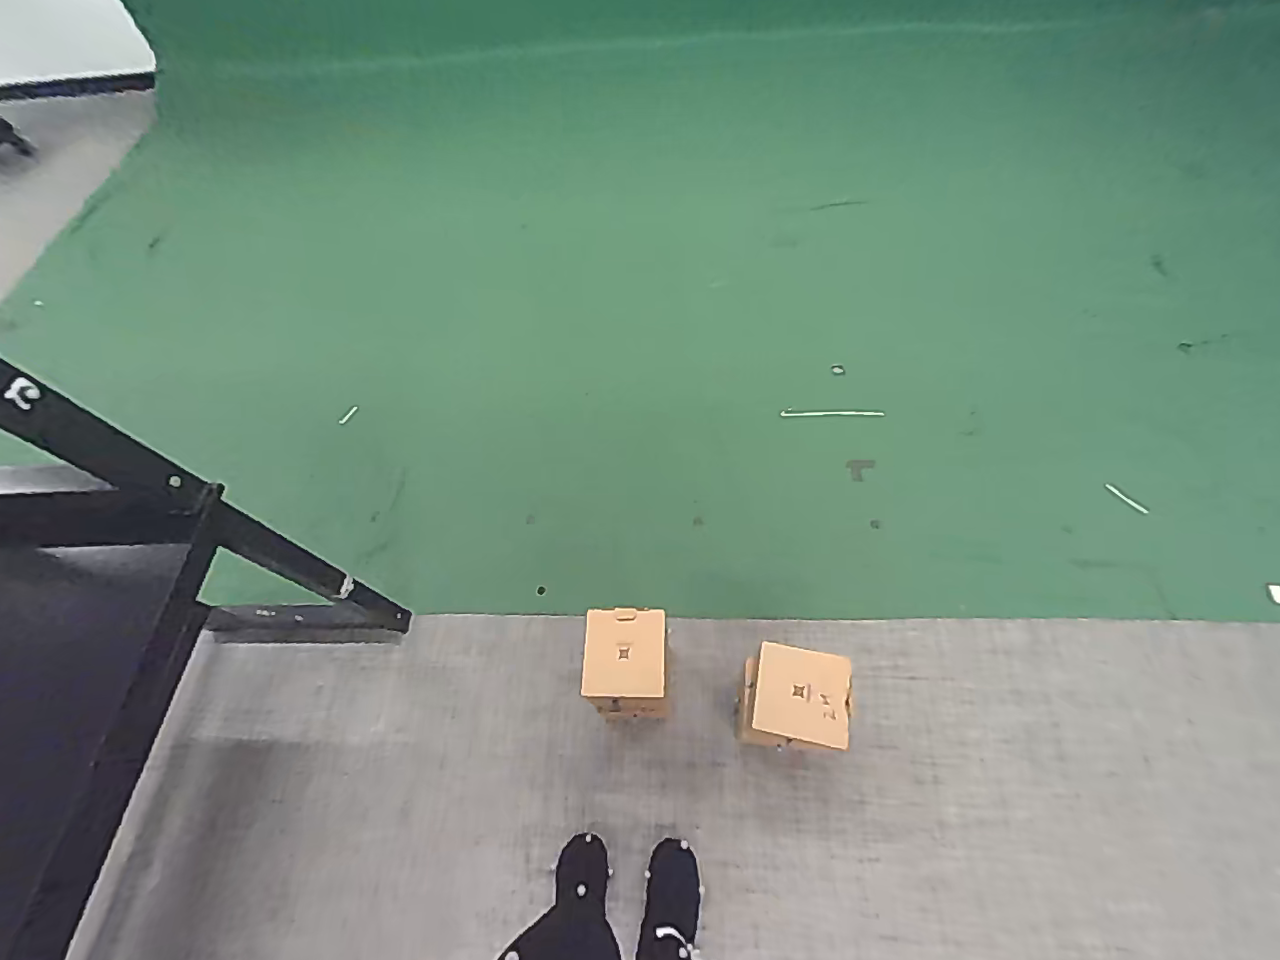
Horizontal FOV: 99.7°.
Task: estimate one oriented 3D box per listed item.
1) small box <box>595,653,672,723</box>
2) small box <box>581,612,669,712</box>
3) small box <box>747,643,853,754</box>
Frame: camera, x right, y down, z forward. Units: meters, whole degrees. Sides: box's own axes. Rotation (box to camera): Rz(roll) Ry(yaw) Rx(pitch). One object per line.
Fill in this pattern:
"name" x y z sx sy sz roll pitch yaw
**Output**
"small box" -0.011 0.477 1.284 0.168 0.176 0.179 -3 60 4
"small box" -0.024 0.390 1.148 0.168 0.176 0.179 -2 59 5
"small box" 0.314 0.443 1.084 0.179 0.176 0.168 9 63 10
